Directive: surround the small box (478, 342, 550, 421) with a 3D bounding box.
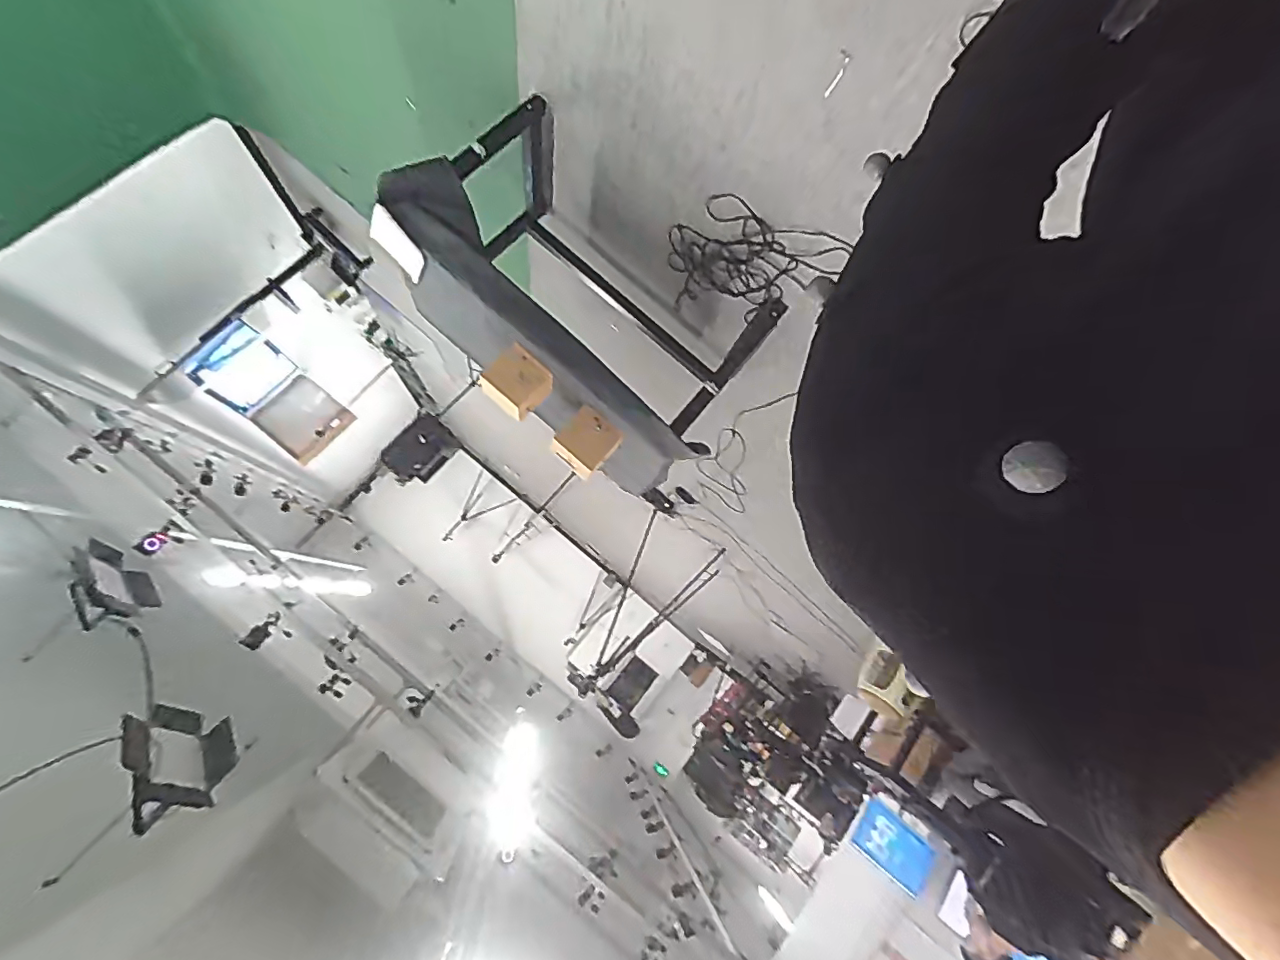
[{"bbox_3d":[-0.416,-0.330,1.811,0.168,0.176,0.179,41,165,-2],"label":"small box"}]
